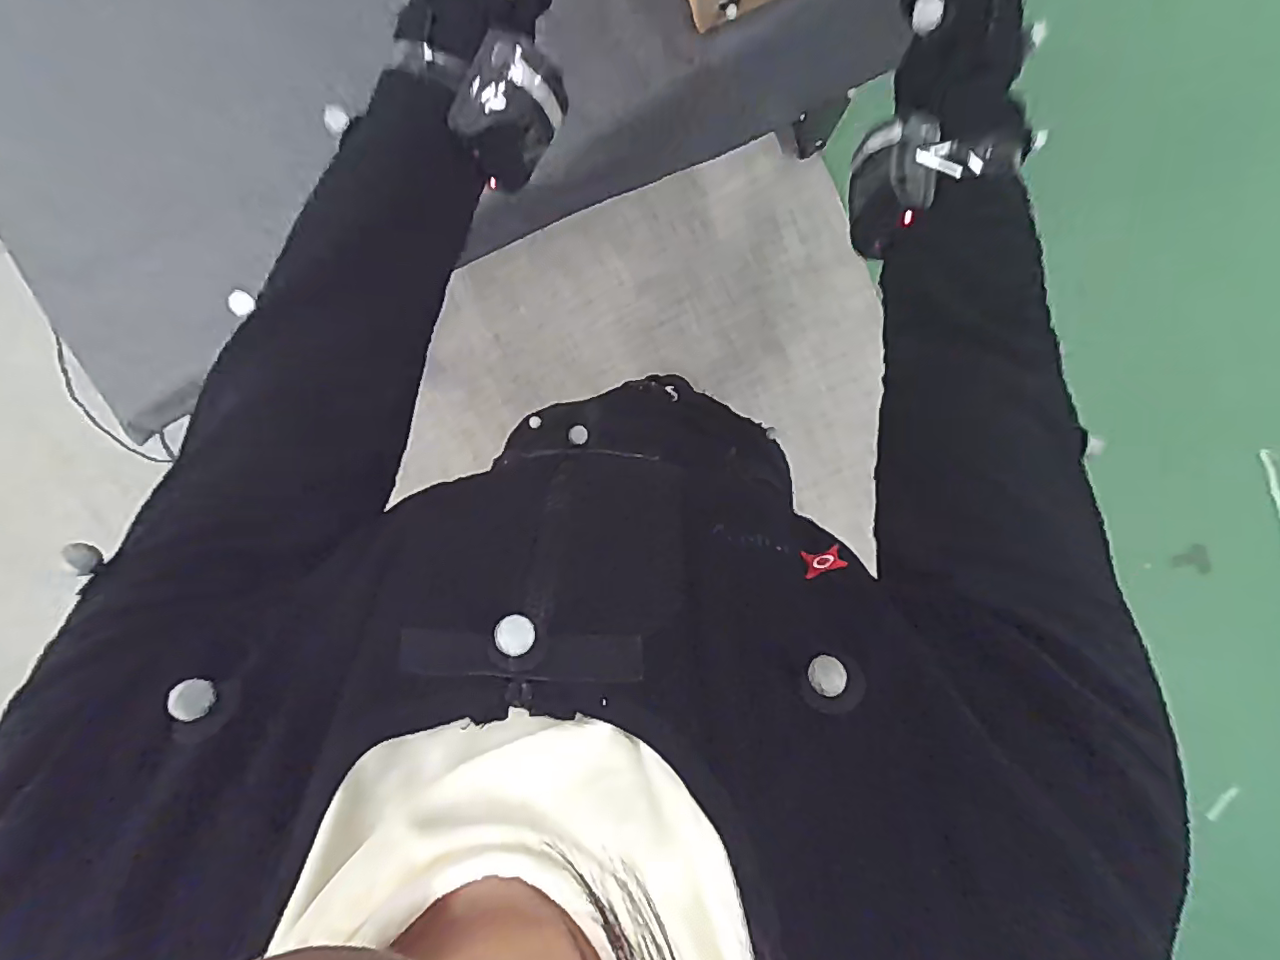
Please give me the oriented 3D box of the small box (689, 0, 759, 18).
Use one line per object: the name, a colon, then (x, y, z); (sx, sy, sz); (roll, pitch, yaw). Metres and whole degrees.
small box: (0.104, -0.565, 0.477); (0.168, 0.176, 0.179); (-17, 99, 10)
